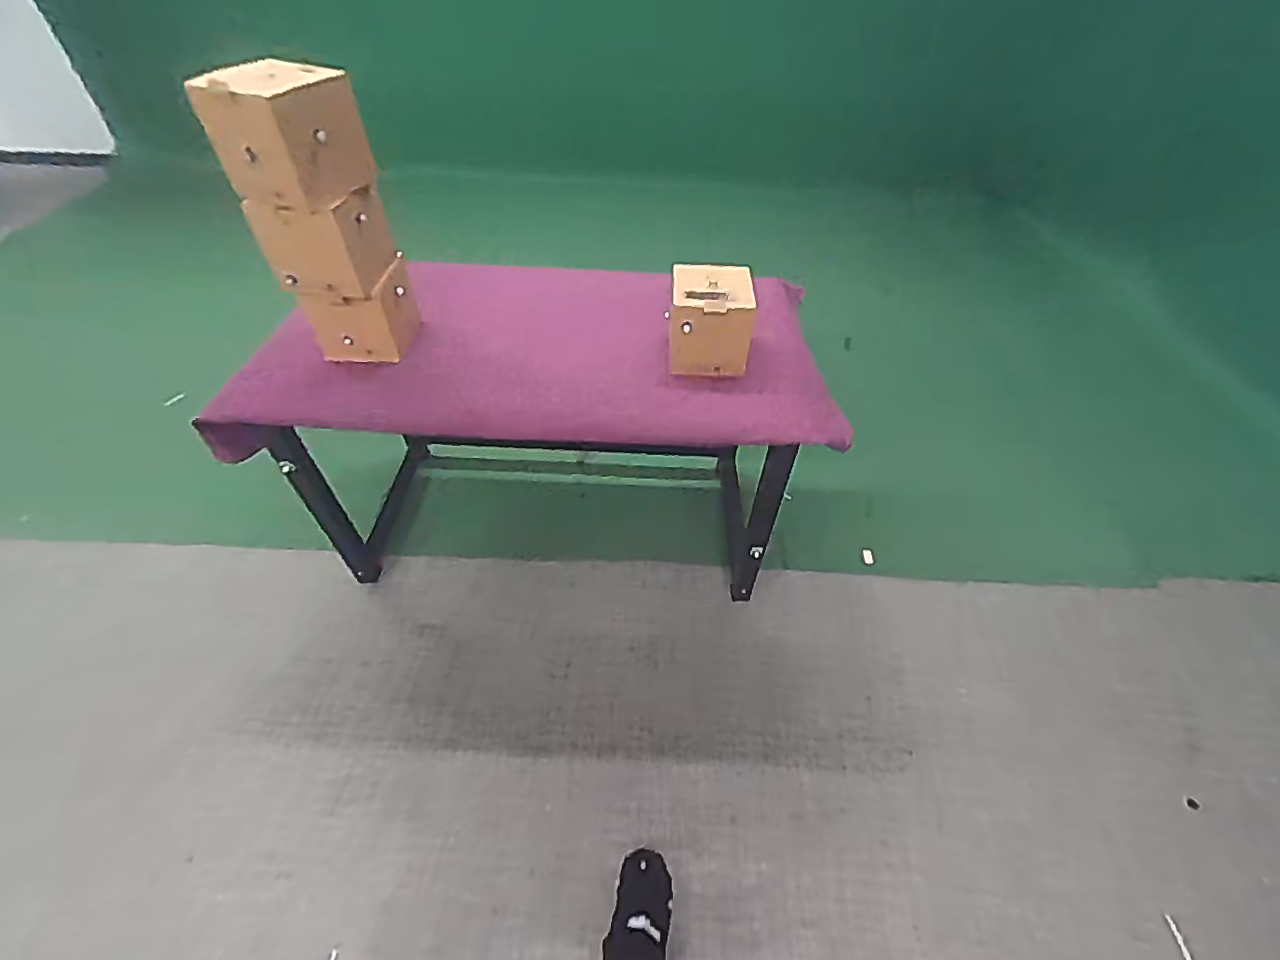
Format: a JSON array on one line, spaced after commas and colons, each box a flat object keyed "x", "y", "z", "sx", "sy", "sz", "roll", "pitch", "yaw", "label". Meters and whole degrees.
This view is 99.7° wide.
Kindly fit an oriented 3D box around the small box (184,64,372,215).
[{"x": -0.598, "y": -0.579, "z": 0.924, "sx": 0.168, "sy": 0.176, "sz": 0.179, "roll": 19, "pitch": 52, "yaw": 12, "label": "small box"}]

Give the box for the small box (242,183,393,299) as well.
[{"x": -0.605, "y": -0.469, "z": 1.046, "sx": 0.168, "sy": 0.176, "sz": 0.179, "roll": 5, "pitch": 48, "yaw": 1, "label": "small box"}]

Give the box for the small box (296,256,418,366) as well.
[{"x": -0.602, "y": -0.371, "z": 1.179, "sx": 0.168, "sy": 0.176, "sz": 0.179, "roll": 2, "pitch": 49, "yaw": -2, "label": "small box"}]
